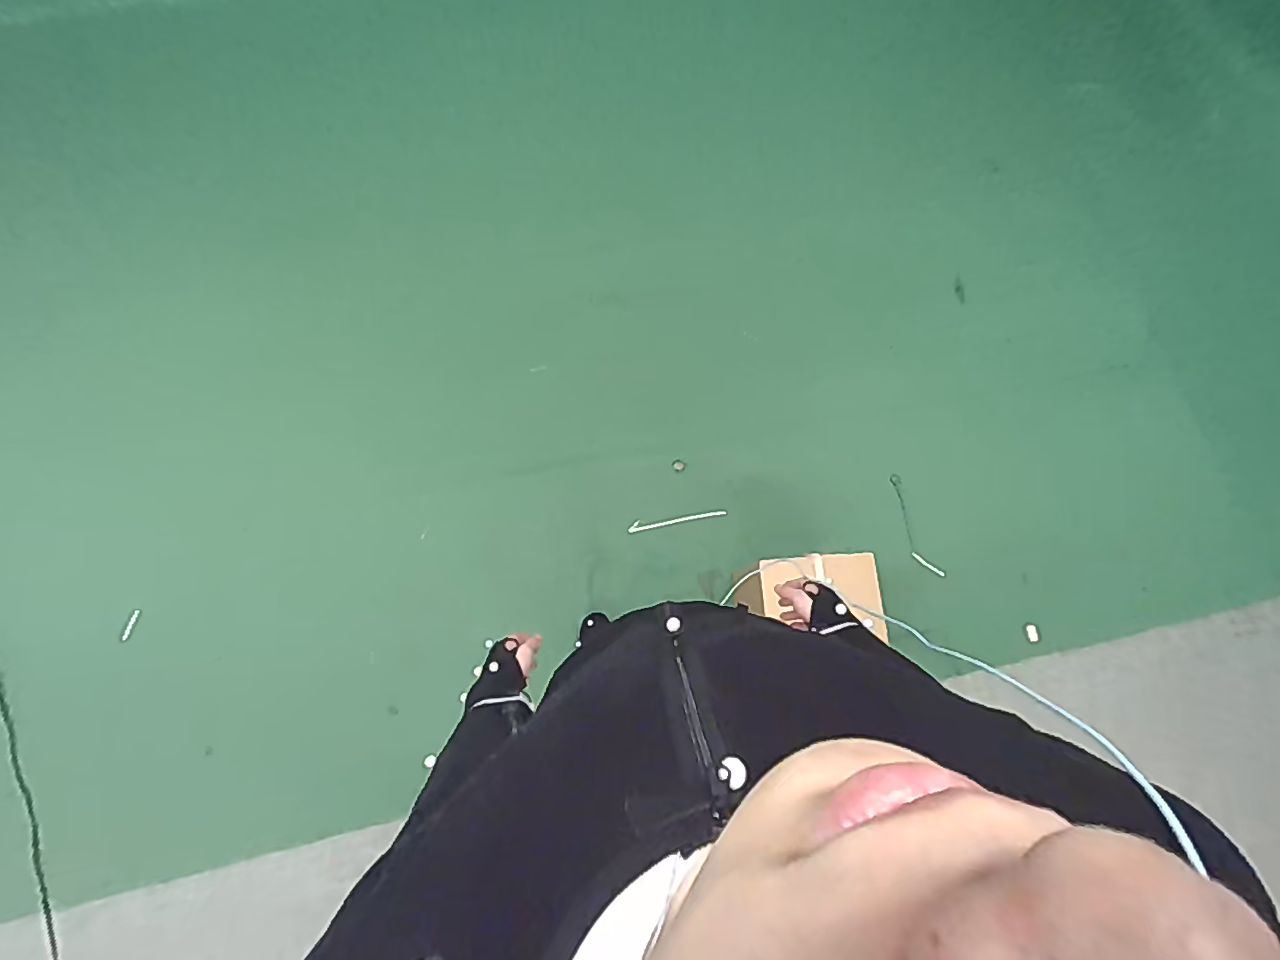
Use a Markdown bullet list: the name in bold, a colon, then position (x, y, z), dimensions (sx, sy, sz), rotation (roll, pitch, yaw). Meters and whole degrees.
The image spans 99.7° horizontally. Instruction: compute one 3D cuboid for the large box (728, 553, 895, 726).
- **large box**: position (0.452, 0.429, 1.514), dimensions (0.320, 0.320, 0.408), rotation (-4, 76, -5)
